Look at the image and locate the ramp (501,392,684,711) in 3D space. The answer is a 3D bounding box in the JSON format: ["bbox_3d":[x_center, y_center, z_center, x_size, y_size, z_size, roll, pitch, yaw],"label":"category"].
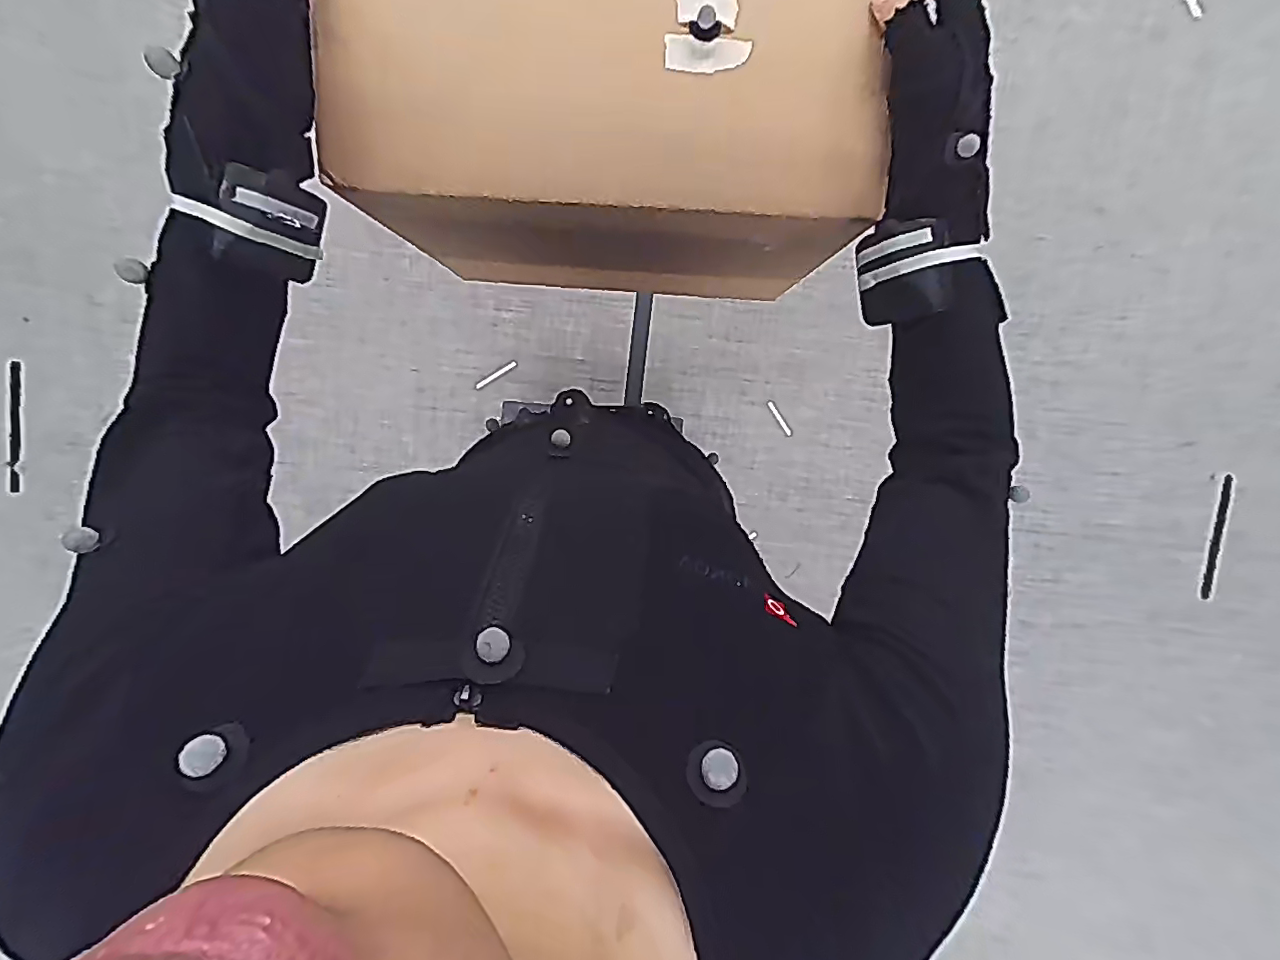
[{"bbox_3d":[-0.162,0.256,1.602,0.509,0.206,0.991,4,97,-1],"label":"ramp"}]

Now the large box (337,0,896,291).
[{"bbox_3d":[-0.017,-0.381,0.528,0.408,0.320,0.320,3,99,-1],"label":"large box"}]
